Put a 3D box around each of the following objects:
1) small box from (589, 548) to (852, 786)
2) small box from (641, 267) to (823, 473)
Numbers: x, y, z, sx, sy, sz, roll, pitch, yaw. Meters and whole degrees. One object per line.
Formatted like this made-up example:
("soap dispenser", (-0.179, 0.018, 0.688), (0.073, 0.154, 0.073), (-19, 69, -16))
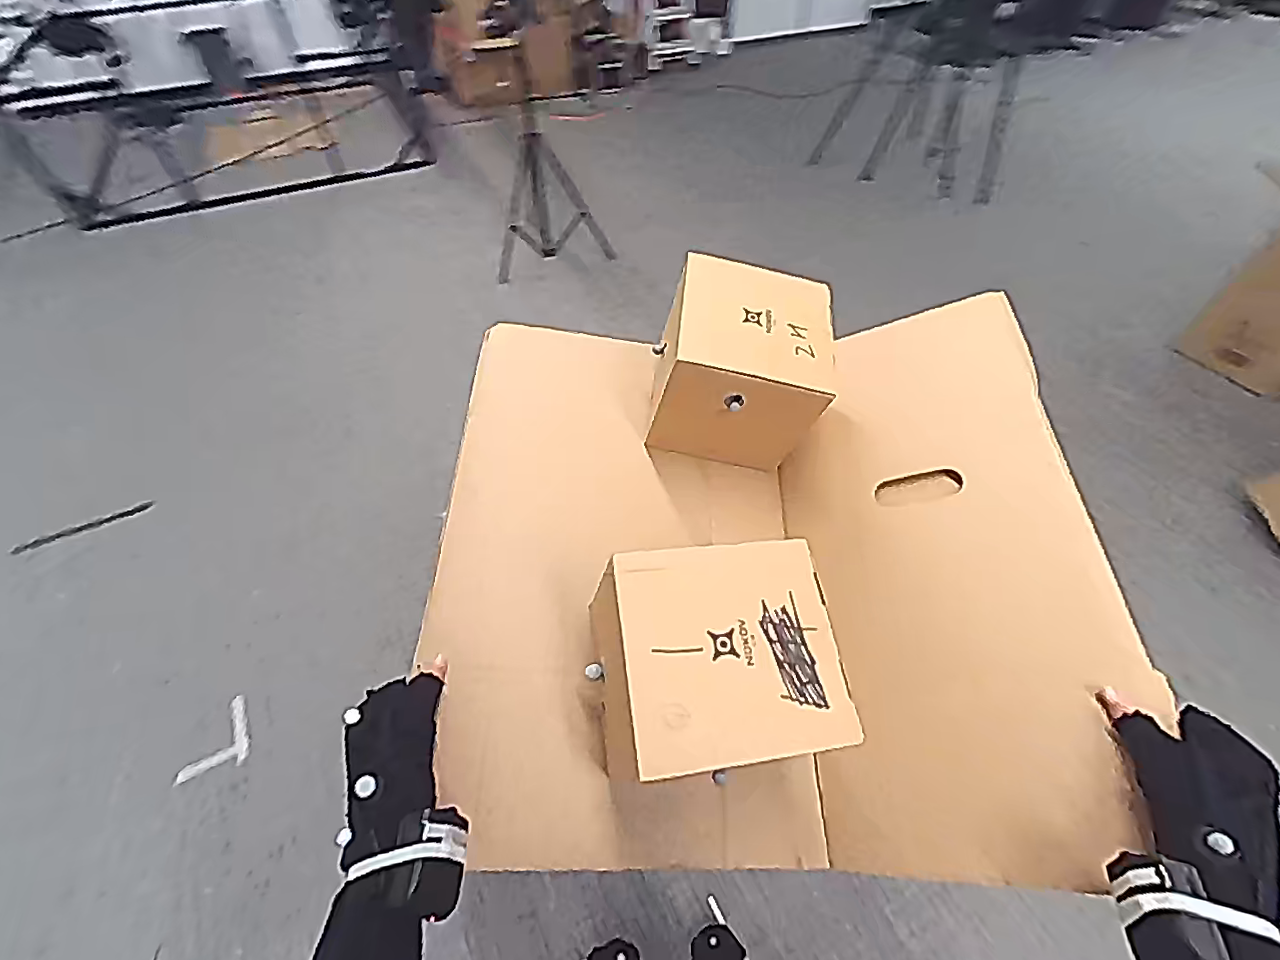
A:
("small box", (0.054, 0.172, 0.498), (0.179, 0.176, 0.168), (-3, 63, -13))
("small box", (0.104, -0.126, 0.670), (0.179, 0.176, 0.168), (11, 61, -7))
